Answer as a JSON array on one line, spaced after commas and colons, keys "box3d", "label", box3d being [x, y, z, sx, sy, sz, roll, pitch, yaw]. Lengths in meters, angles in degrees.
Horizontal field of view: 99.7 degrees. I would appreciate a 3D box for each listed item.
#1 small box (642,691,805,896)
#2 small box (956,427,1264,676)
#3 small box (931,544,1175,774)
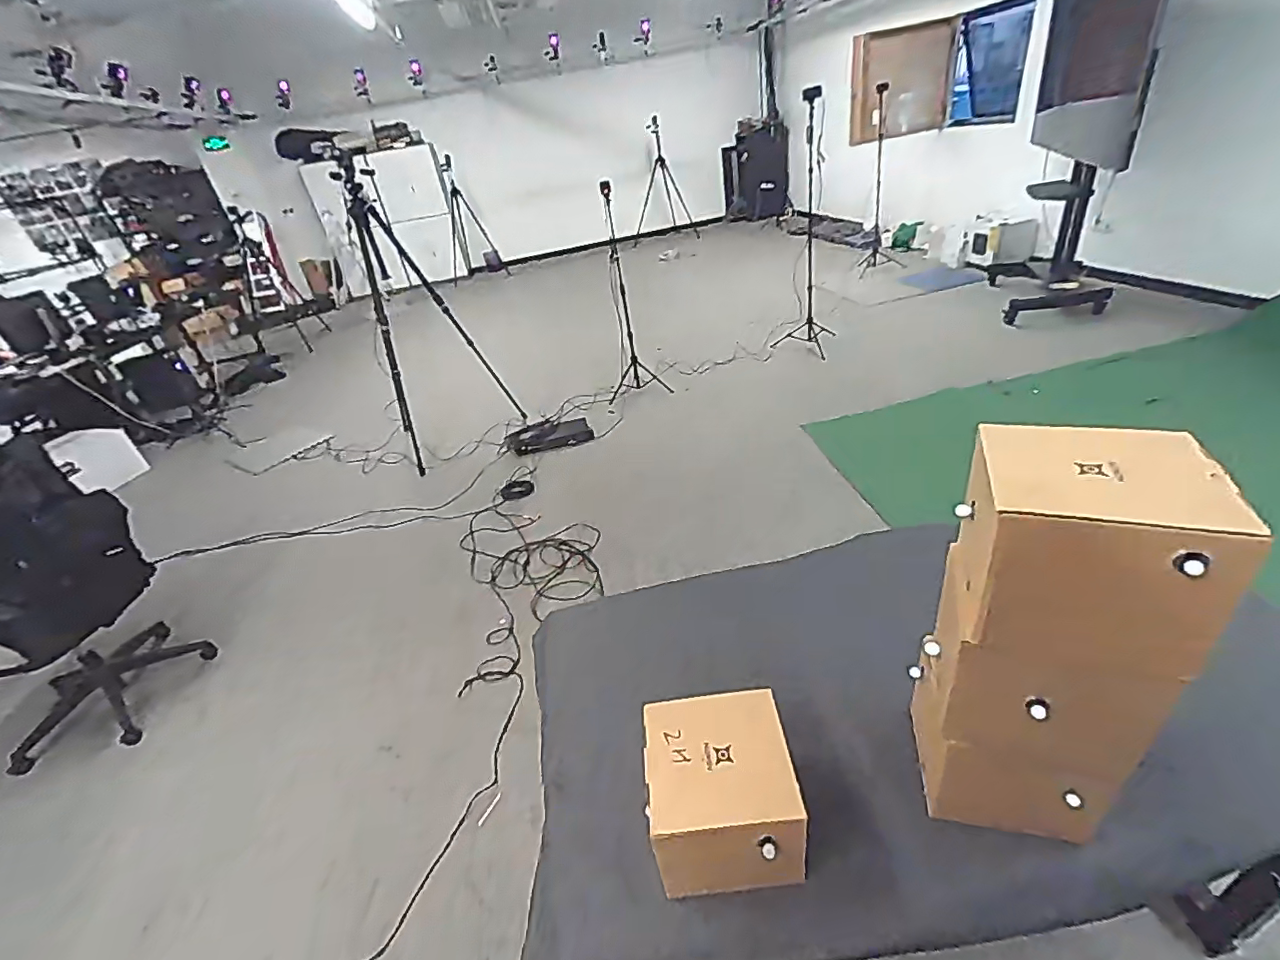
[{"box3d": [0.102, 0.403, 0.699, 0.179, 0.176, 0.168, -9, 33, 3], "label": "small box"}, {"box3d": [0.417, 0.062, 0.525, 0.179, 0.176, 0.168, 5, 35, 23], "label": "small box"}, {"box3d": [0.439, 0.198, 0.613, 0.179, 0.176, 0.168, 5, 35, 24], "label": "small box"}]
